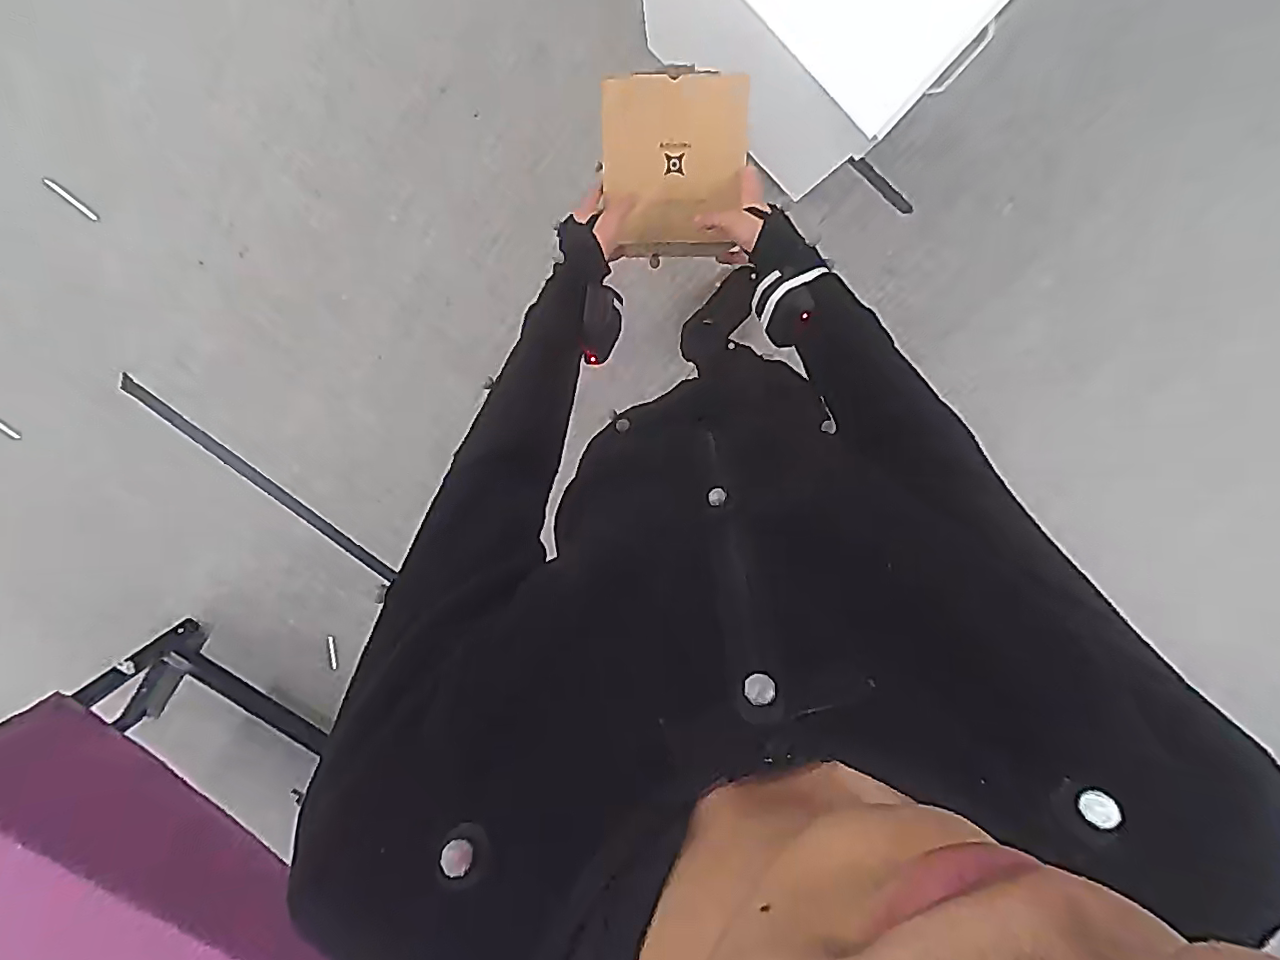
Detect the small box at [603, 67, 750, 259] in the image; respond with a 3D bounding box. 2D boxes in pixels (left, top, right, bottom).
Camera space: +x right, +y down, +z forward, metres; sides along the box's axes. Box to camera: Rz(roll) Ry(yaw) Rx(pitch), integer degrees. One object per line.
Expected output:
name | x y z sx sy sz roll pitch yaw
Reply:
small box | 0.037 -0.385 0.686 0.168 0.176 0.179 -1 107 -1
